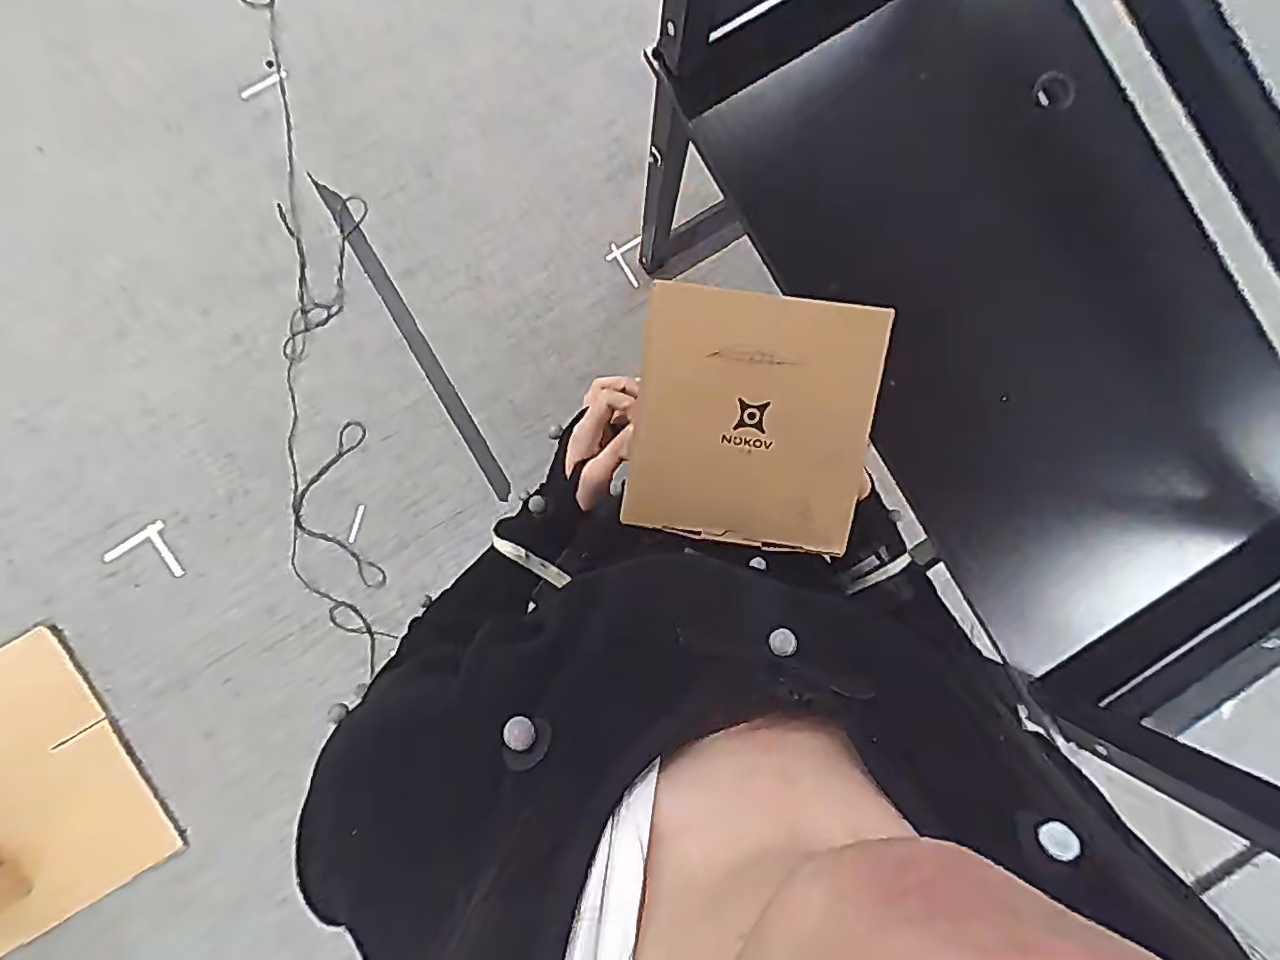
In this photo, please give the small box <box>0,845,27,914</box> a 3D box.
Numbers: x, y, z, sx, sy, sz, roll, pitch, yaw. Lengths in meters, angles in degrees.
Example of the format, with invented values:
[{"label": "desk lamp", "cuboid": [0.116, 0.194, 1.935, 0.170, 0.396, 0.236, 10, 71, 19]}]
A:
[{"label": "small box", "cuboid": [-1.690, 1.048, 1.327, 0.179, 0.176, 0.168, -38, 91, -3]}]
